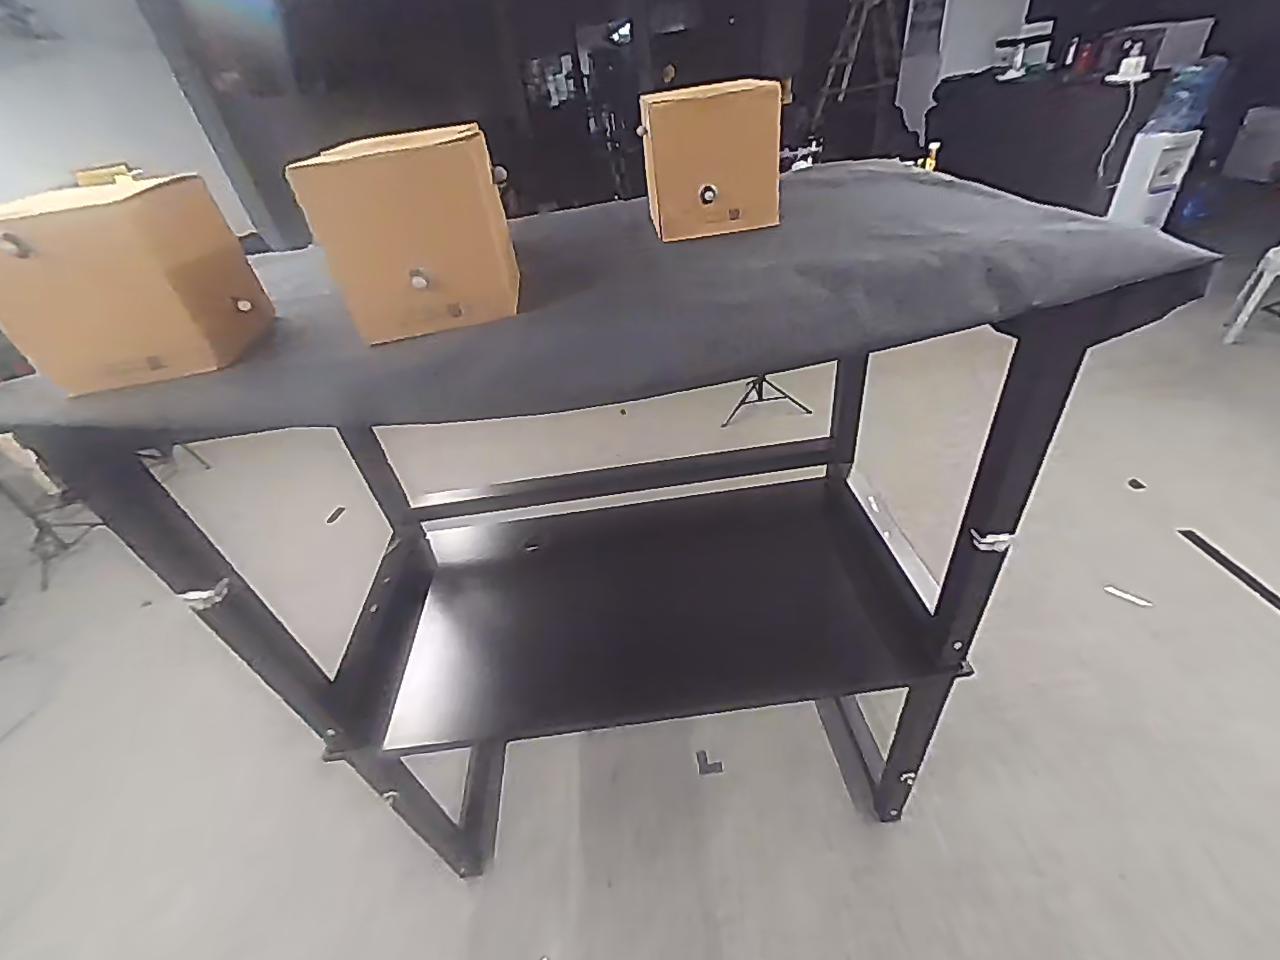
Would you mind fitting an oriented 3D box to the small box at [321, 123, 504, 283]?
[{"bbox_3d":[-0.305,-0.389,0.771,0.168,0.176,0.179,-6,39,2],"label":"small box"}]

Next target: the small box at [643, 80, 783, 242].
[{"bbox_3d":[0.097,-0.453,0.769,0.168,0.176,0.179,-8,38,1],"label":"small box"}]

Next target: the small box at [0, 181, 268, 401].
[{"bbox_3d":[-0.544,-0.206,0.581,0.168,0.176,0.179,-13,38,-5],"label":"small box"}]
